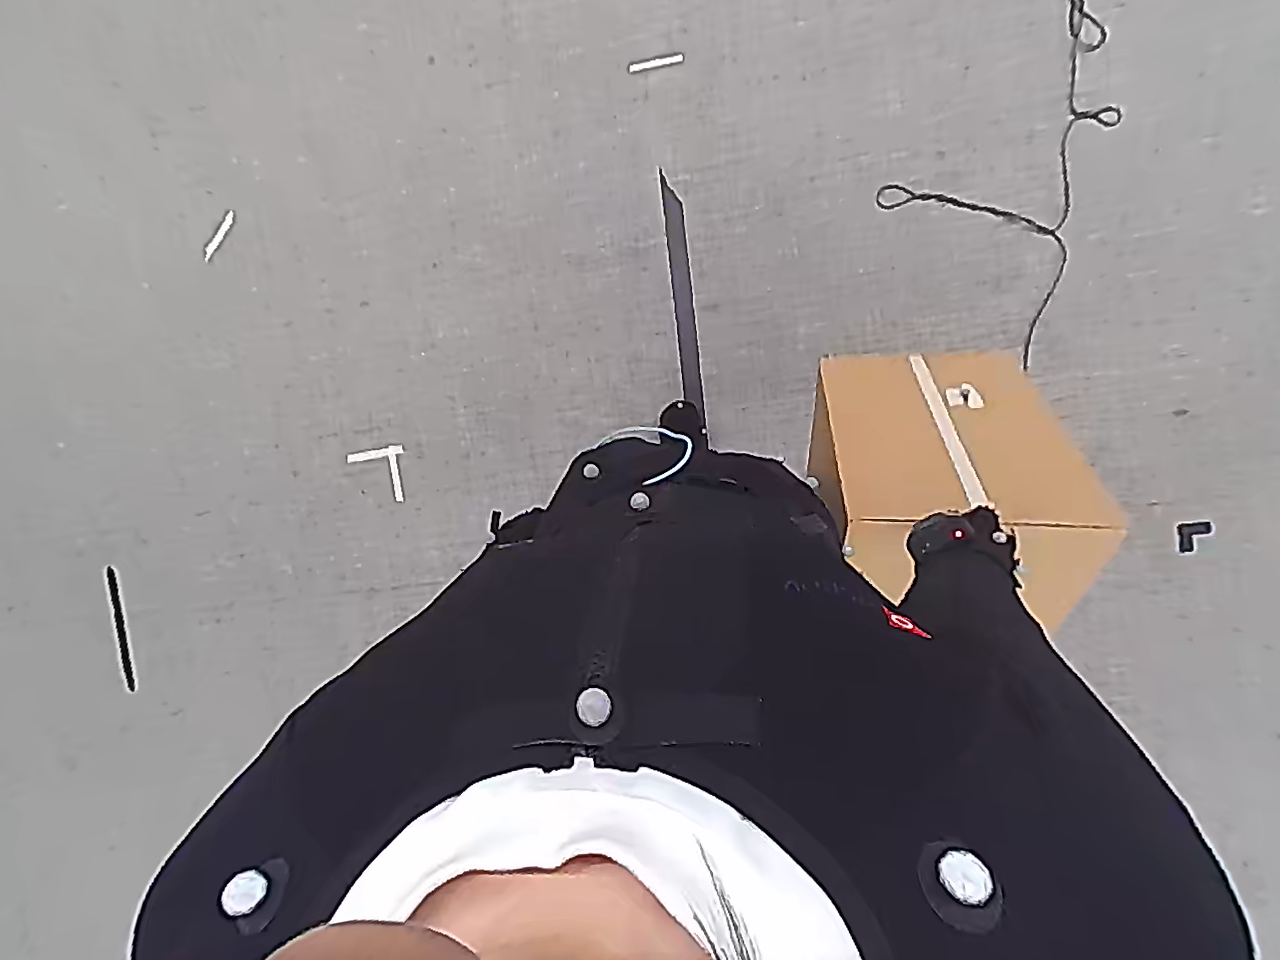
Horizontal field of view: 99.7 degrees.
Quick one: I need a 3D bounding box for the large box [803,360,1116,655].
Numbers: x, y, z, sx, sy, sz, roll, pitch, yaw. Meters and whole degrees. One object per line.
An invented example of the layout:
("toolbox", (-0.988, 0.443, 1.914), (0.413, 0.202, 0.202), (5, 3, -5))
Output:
("large box", (0.461, 0.034, 0.910), (0.320, 0.408, 0.320), (2, 131, 9))
